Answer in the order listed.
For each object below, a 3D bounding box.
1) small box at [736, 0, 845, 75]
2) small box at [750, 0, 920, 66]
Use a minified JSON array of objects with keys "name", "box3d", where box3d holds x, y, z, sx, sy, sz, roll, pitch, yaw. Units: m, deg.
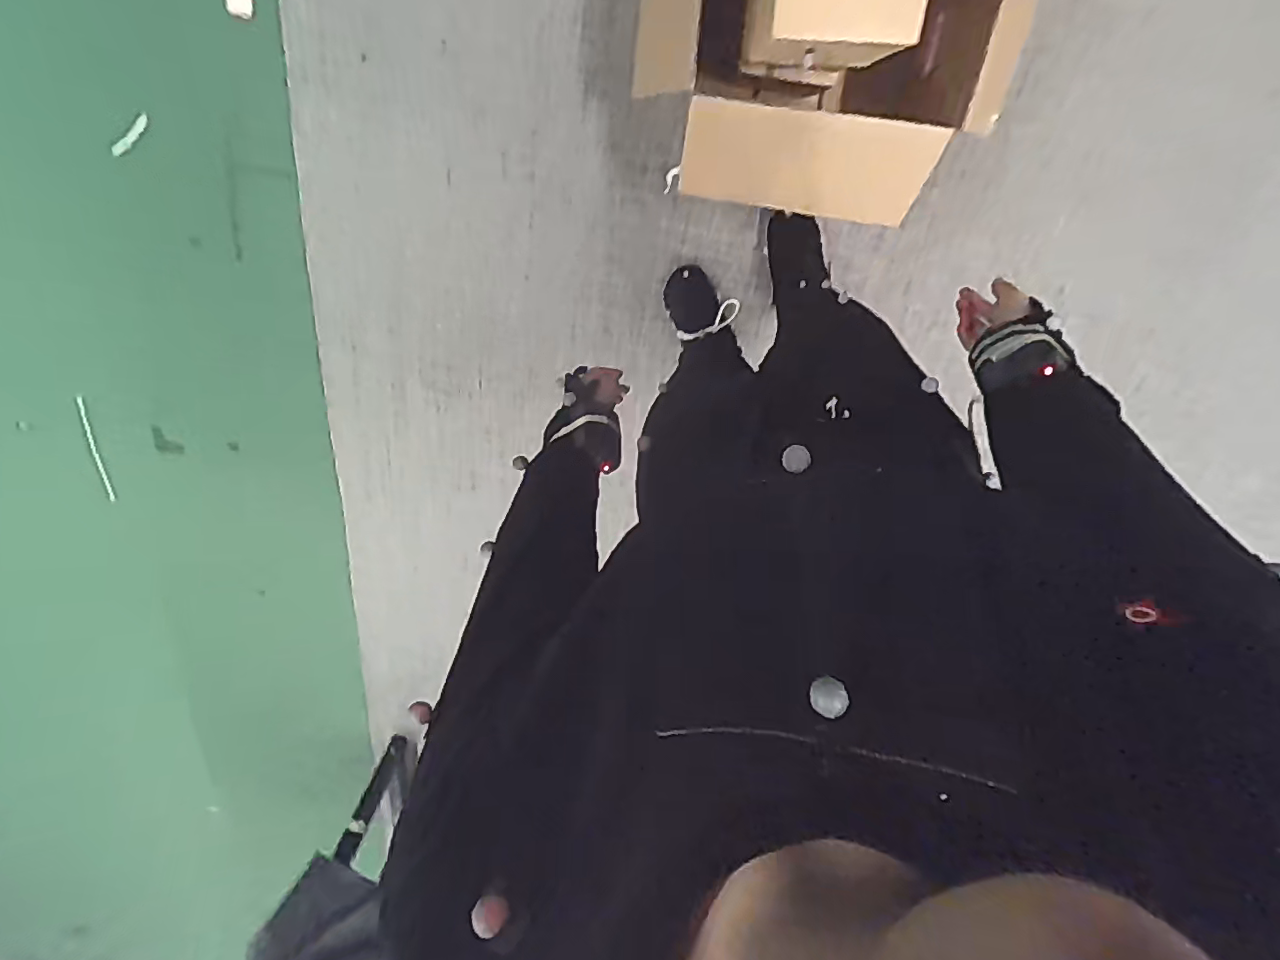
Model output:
[{"name":"small box","box3d":[0.237,-0.700,0.764,0.168,0.176,0.179,4,120,-1]},{"name":"small box","box3d":[0.228,-0.605,0.632,0.168,0.176,0.179,2,119,1]}]
